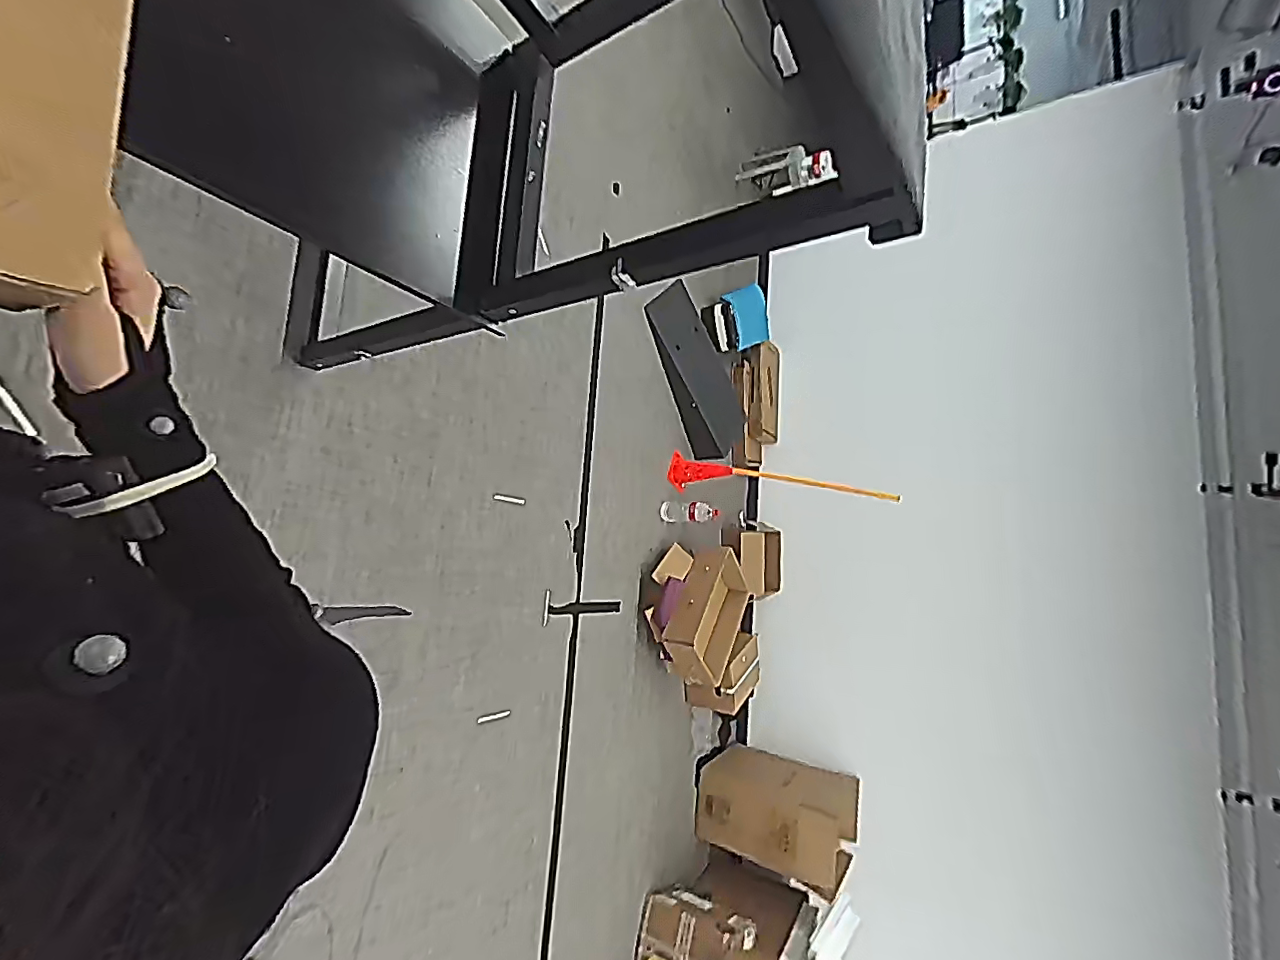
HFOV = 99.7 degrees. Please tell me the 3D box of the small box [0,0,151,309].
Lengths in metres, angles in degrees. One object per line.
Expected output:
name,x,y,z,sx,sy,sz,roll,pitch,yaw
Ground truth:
small box,-0.342,-0.182,0.222,0.168,0.176,0.179,6,95,-58
